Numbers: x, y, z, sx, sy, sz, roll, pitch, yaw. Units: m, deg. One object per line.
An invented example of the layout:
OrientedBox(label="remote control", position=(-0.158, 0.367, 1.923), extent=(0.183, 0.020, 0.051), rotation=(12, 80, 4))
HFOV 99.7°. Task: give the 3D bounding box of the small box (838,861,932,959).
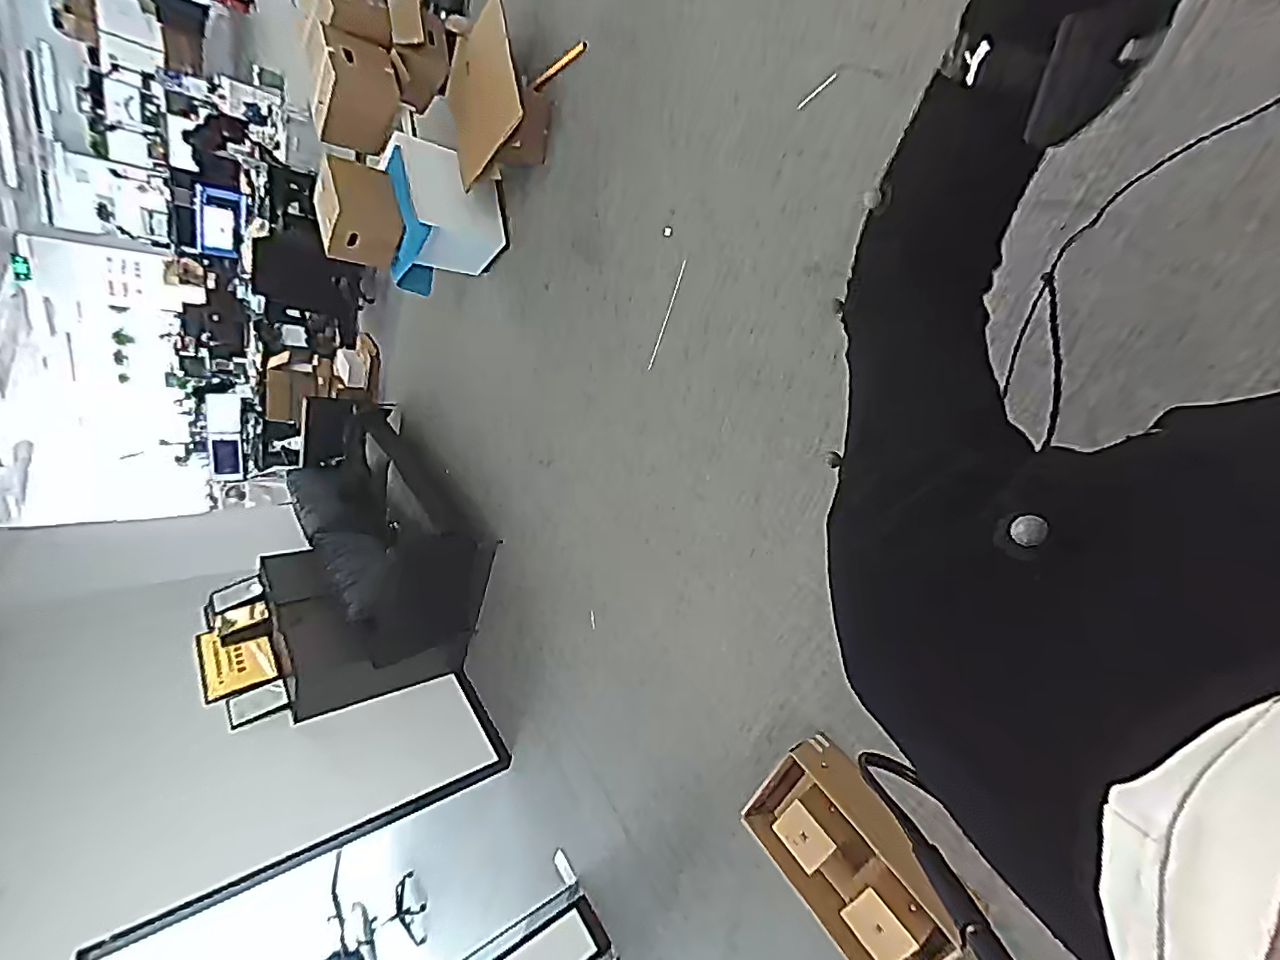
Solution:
OrientedBox(label="small box", position=(0.727, 1.276, 1.591), extent=(0.168, 0.176, 0.179), rotation=(44, 125, 36))

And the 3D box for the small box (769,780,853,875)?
OrientedBox(label="small box", position=(0.561, 1.120, 1.758), extent=(0.168, 0.176, 0.179), rotation=(45, 124, 35))
